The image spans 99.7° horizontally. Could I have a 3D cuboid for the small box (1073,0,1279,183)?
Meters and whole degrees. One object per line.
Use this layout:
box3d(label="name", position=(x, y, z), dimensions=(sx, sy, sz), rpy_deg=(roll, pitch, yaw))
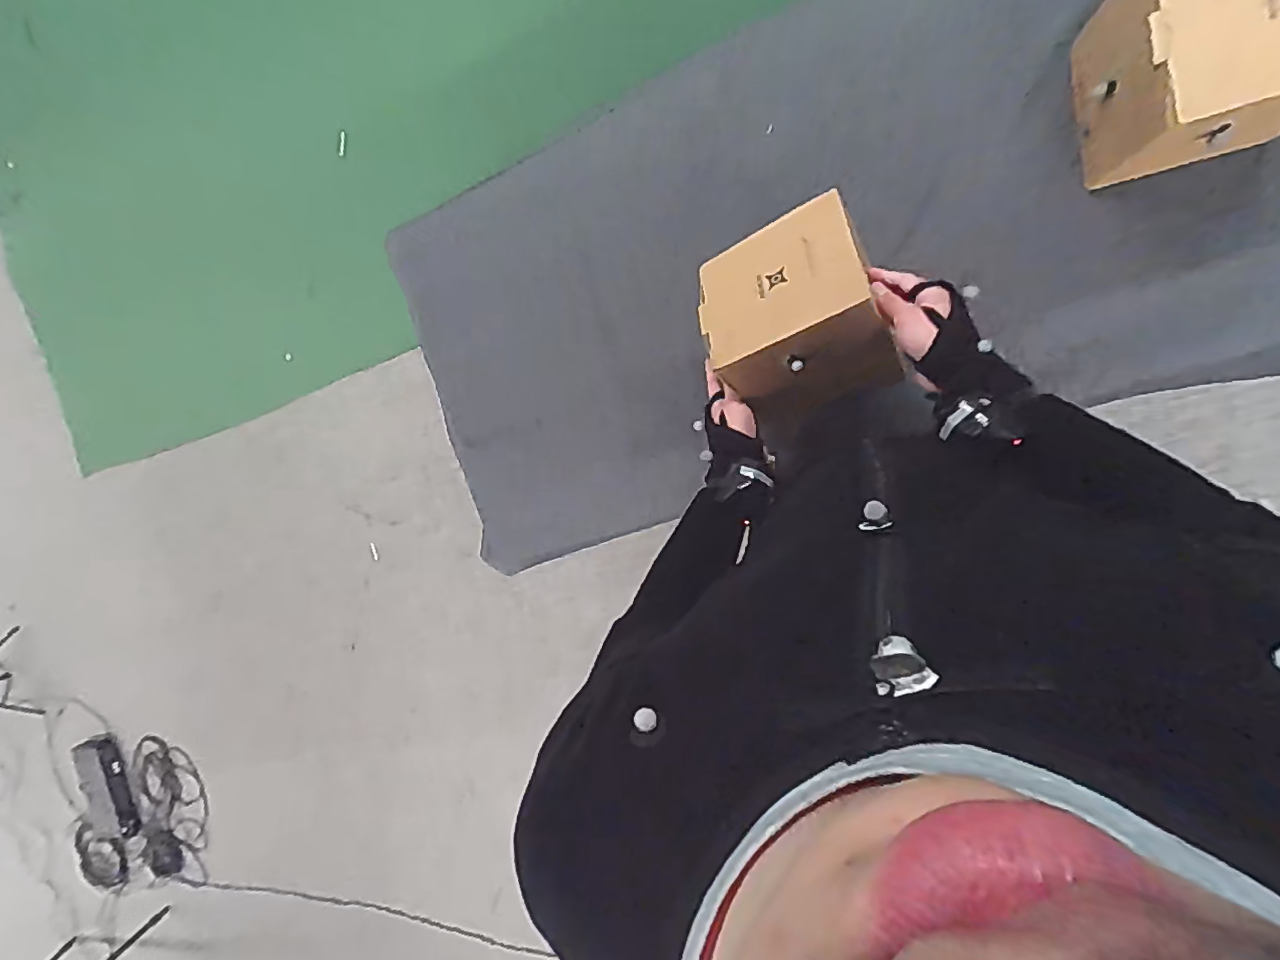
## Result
box3d(label="small box", position=(0.571, -0.429, 0.542), dimensions=(0.179, 0.176, 0.168), rpy_deg=(-9, 96, 18))

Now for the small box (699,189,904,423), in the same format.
box3d(label="small box", position=(0.192, -0.192, 0.650), dimensions=(0.179, 0.176, 0.168), rpy_deg=(-20, 59, 29))
